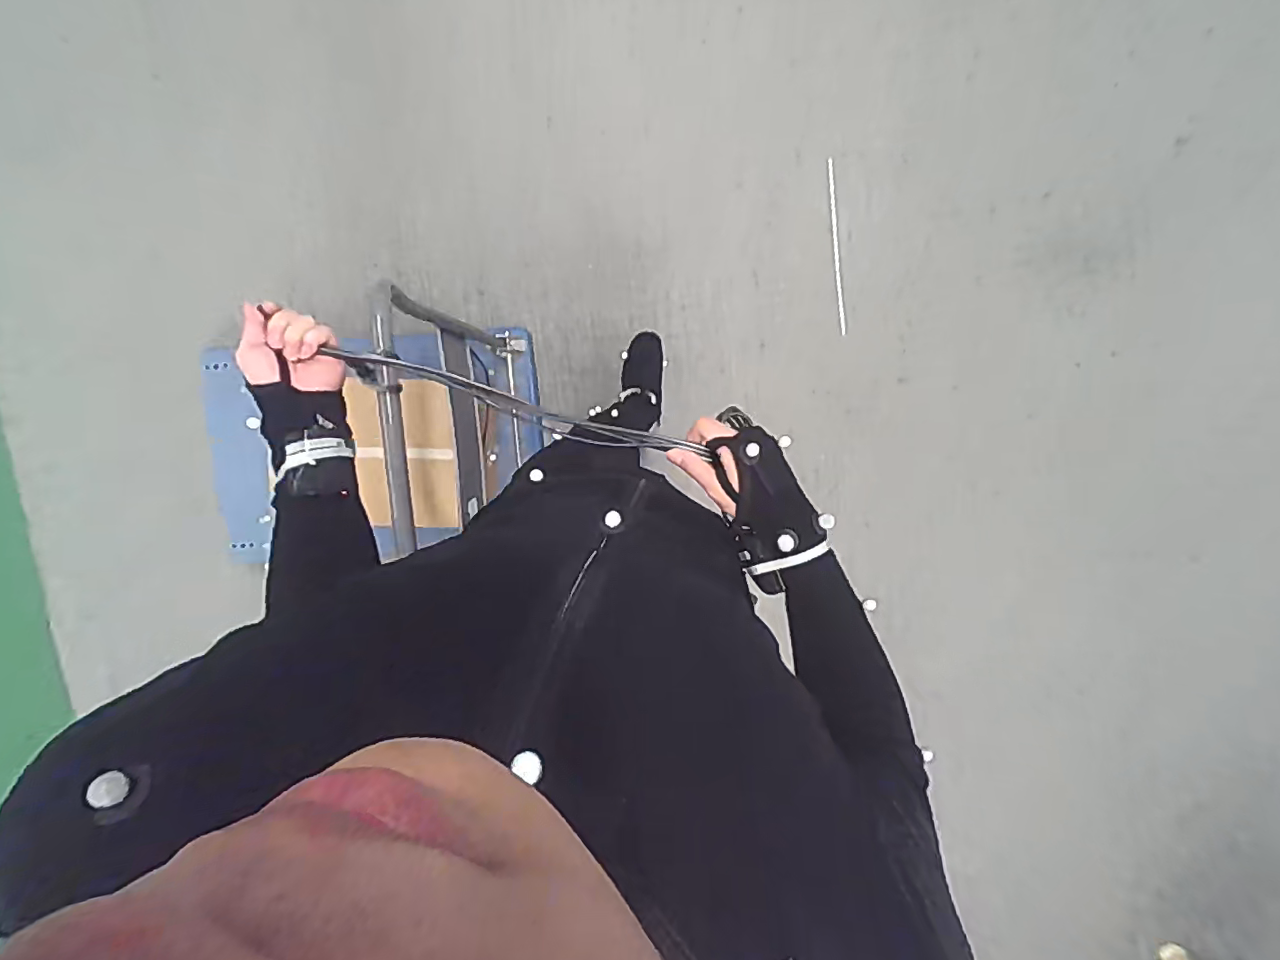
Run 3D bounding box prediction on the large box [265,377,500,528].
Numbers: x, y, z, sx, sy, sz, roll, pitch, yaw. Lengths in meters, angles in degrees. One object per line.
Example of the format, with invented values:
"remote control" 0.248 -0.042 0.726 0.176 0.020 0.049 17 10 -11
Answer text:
"large box" -0.569 -0.074 1.270 0.408 0.320 0.320 2 97 1
